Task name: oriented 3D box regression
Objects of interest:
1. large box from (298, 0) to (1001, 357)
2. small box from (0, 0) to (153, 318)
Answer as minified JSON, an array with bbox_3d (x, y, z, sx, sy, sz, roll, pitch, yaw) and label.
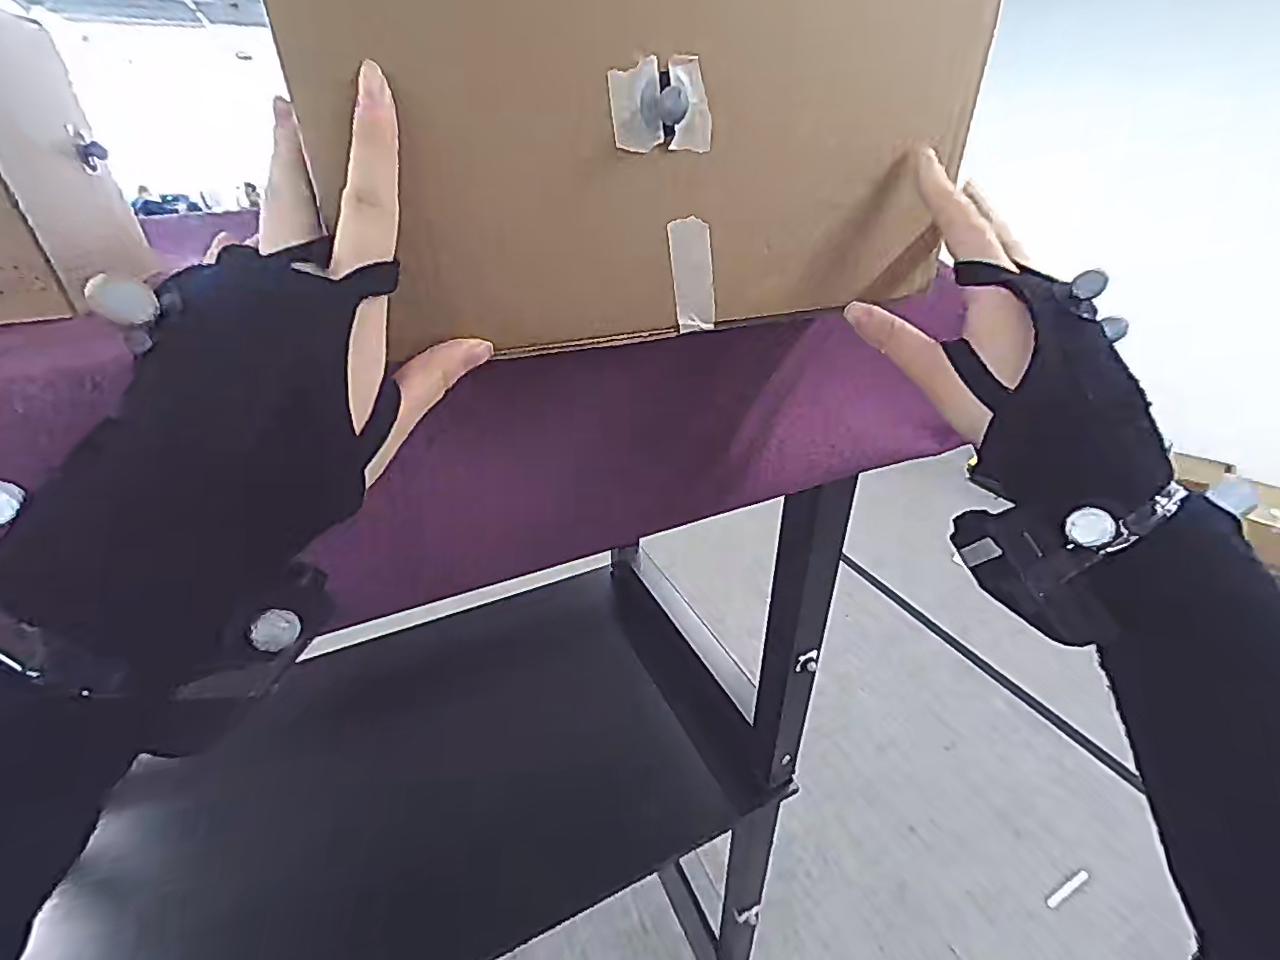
[{"bbox_3d":[-0.041,-0.298,0.355,0.320,0.320,0.408,-12,31,-17],"label":"large box"},{"bbox_3d":[-0.447,-0.196,0.327,0.168,0.176,0.179,-14,34,-19],"label":"small box"}]
